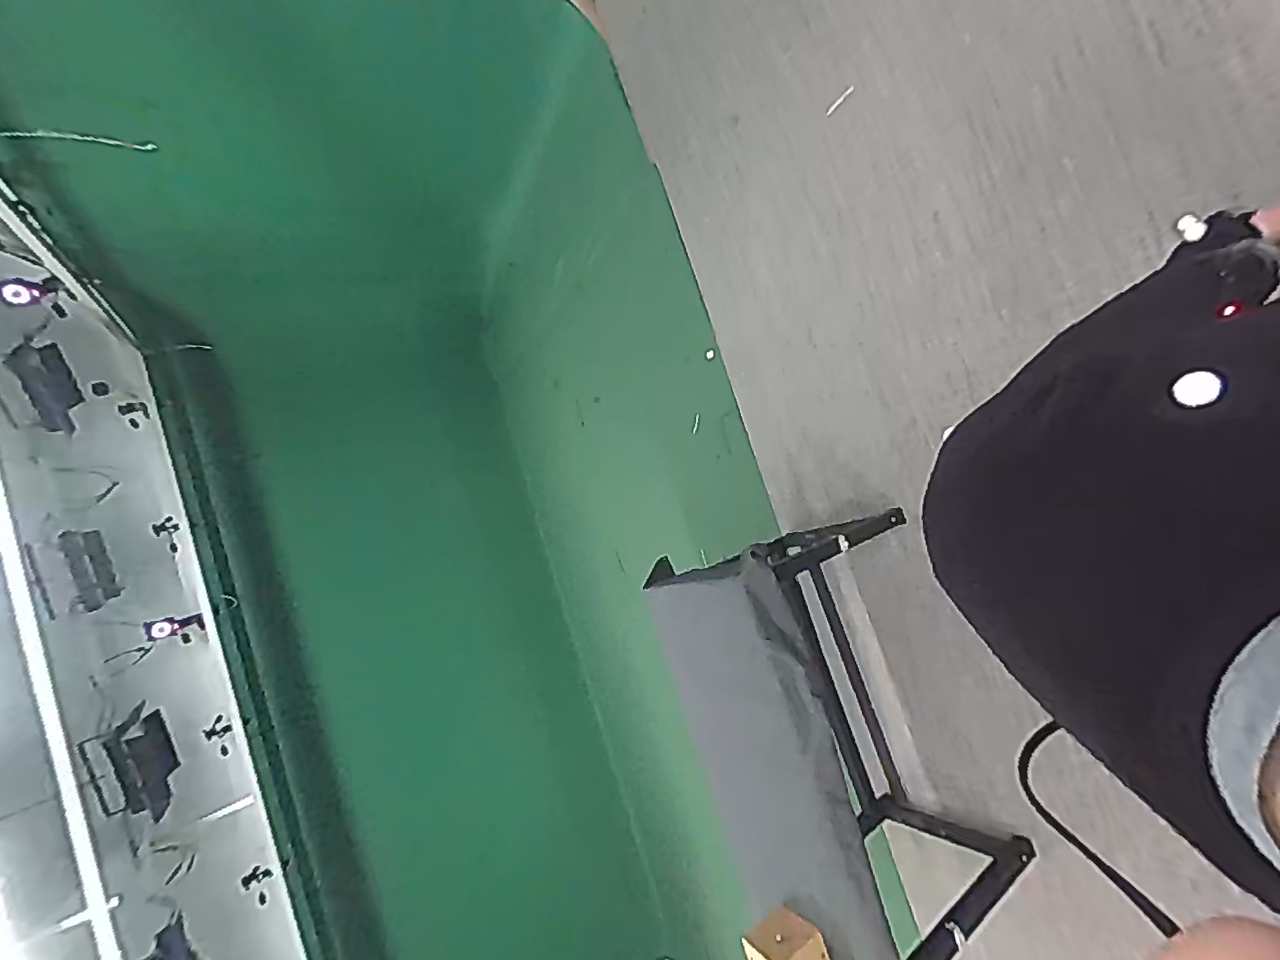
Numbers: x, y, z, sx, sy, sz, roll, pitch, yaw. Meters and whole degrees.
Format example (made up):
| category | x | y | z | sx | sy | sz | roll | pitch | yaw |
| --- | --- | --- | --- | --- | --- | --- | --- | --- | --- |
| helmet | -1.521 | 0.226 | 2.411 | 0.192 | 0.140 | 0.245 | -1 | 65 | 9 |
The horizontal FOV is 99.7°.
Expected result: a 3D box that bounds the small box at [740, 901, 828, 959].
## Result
| category | x | y | z | sx | sy | sz | roll | pitch | yaw |
| --- | --- | --- | --- | --- | --- | --- | --- | --- | --- |
| small box | 0.434 | 1.396 | 1.592 | 0.179 | 0.176 | 0.168 | -27 | 80 | 60 |
